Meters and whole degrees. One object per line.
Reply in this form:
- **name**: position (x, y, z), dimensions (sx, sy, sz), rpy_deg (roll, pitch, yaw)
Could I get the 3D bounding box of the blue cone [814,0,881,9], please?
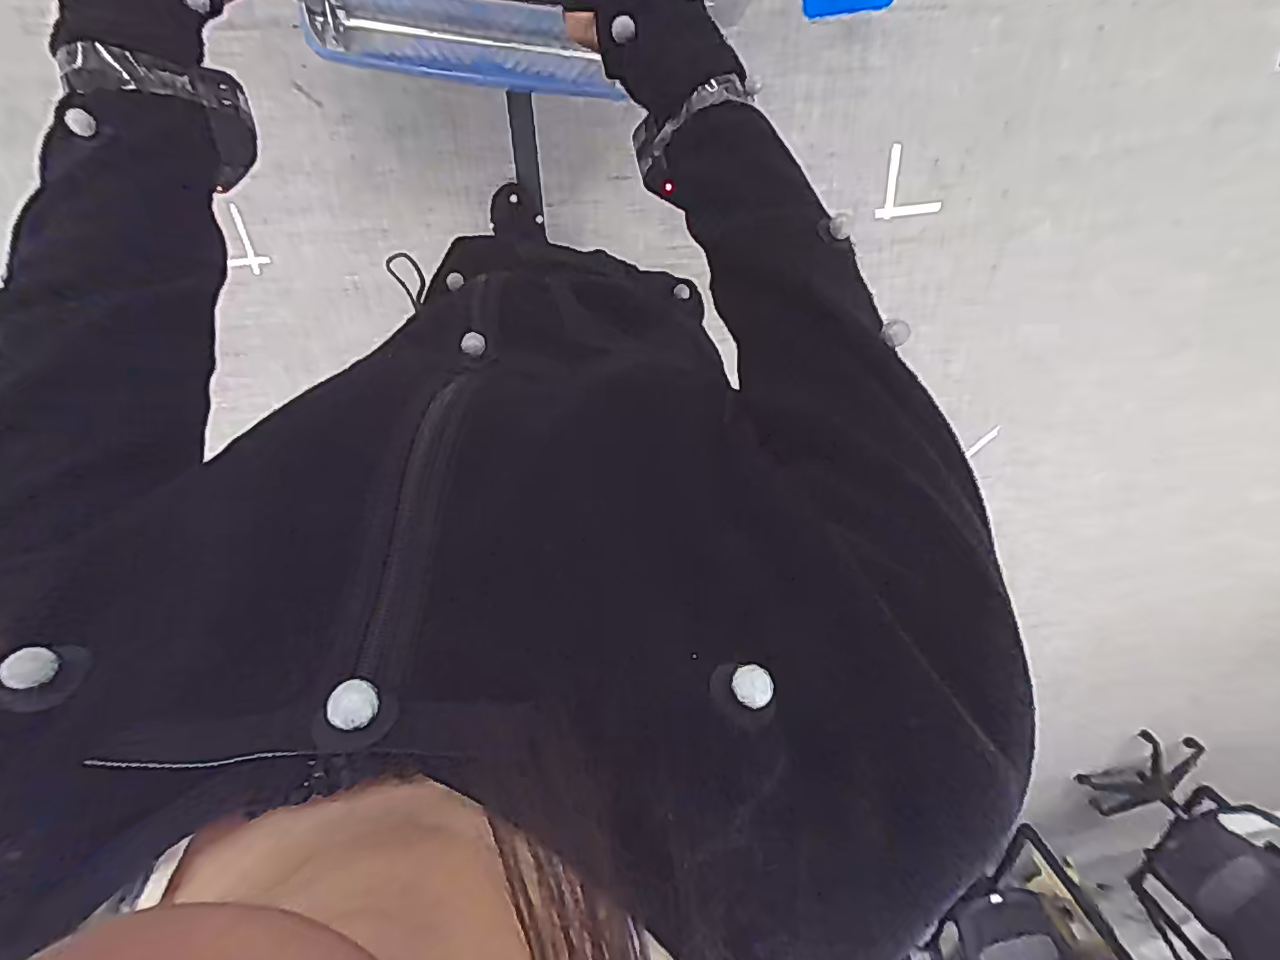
- **blue cone**: position (0.454, -0.979, 0.921), dimensions (0.193, 0.380, 0.192), rpy_deg (-10, 119, -6)
